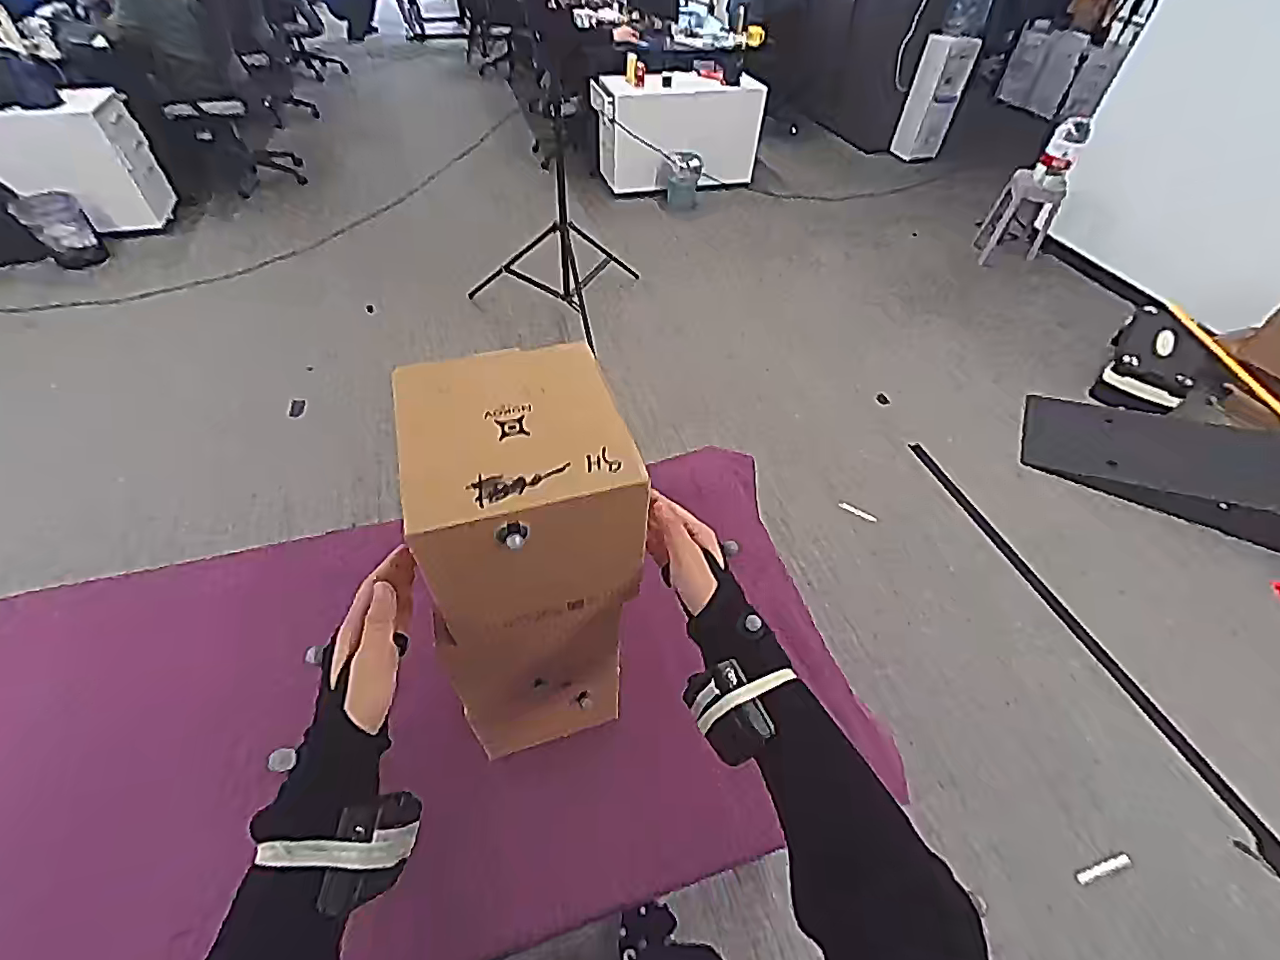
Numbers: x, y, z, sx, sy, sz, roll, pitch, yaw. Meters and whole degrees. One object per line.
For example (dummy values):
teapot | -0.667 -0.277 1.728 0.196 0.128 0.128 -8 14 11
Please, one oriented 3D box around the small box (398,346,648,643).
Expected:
small box | -0.101 0.010 0.471 0.168 0.176 0.179 -13 50 -14

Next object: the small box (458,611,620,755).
small box | -0.132 0.233 0.711 0.179 0.176 0.168 -13 50 -13
